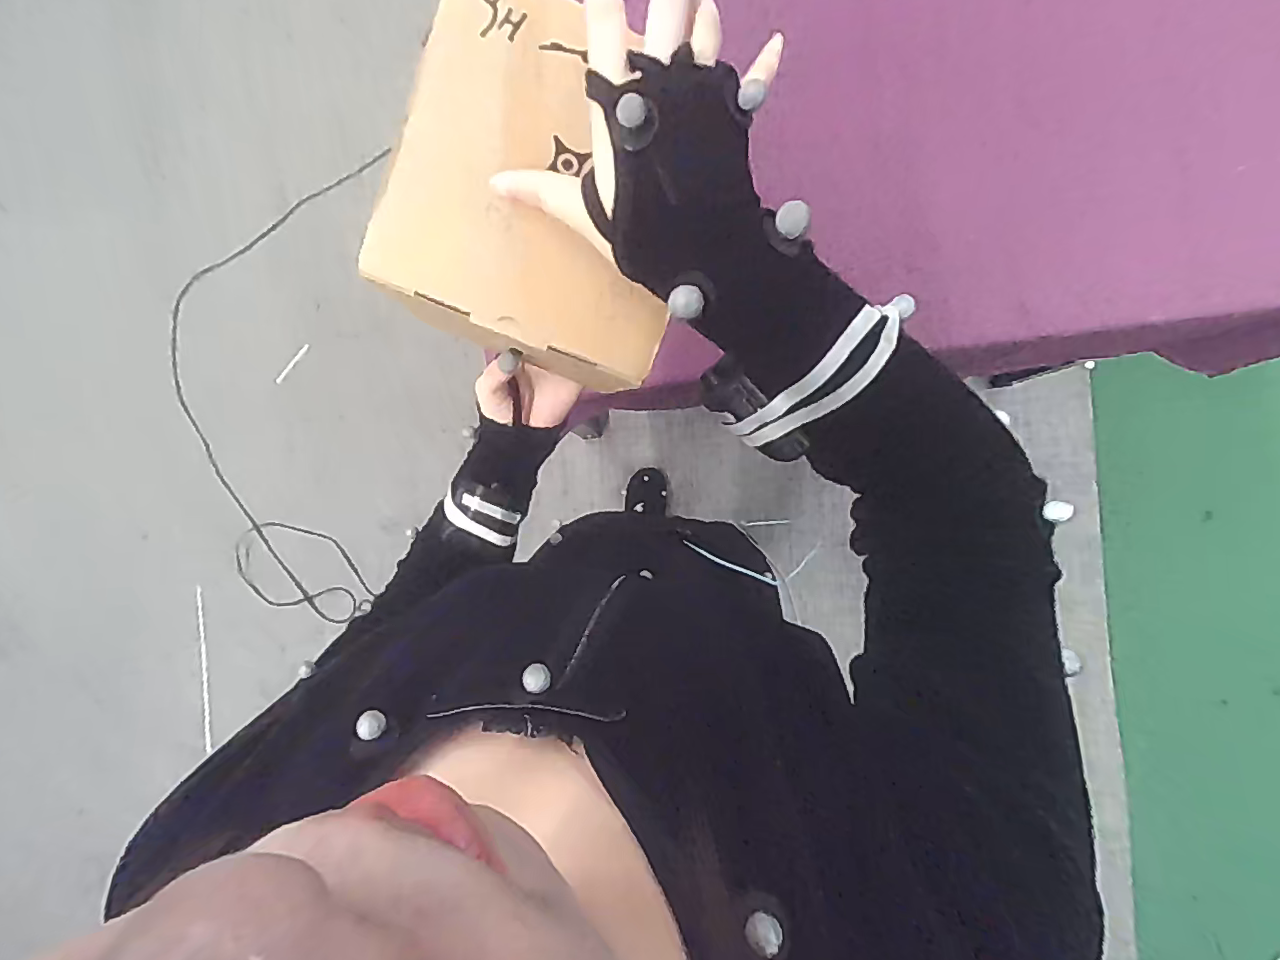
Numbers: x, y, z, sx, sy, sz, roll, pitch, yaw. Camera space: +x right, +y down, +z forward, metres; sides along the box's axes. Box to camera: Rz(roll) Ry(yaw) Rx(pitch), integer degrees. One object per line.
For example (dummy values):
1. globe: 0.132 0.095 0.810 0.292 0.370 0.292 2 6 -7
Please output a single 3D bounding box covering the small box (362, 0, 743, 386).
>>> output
1. small box: -0.058 -0.175 0.374 0.168 0.176 0.179 20 95 -14
